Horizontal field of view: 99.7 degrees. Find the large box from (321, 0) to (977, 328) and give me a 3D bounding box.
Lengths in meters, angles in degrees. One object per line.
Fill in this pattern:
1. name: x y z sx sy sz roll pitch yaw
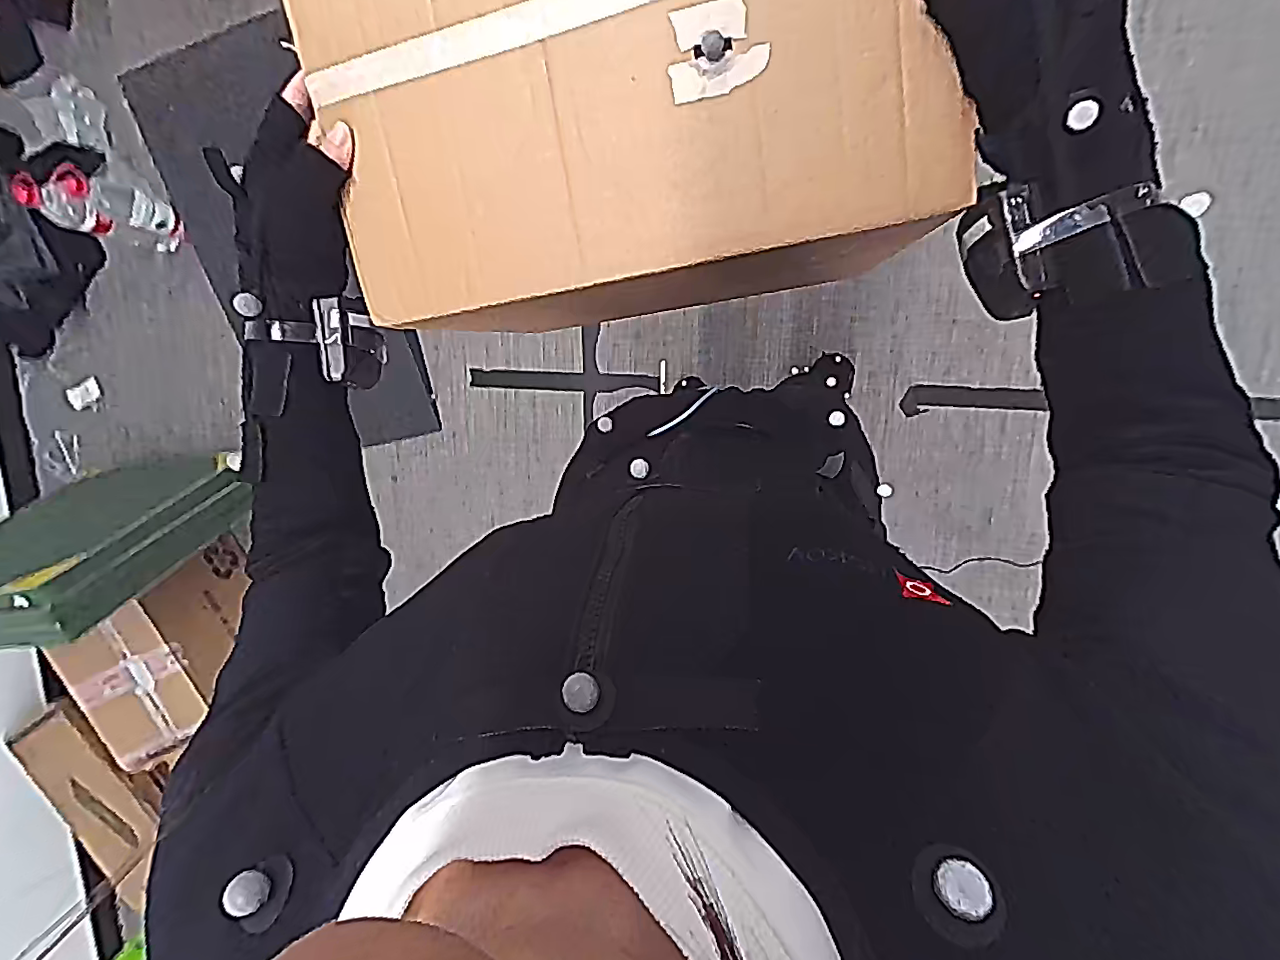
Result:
1. large box: 0.010 -0.330 0.477 0.408 0.320 0.320 -7 103 12
